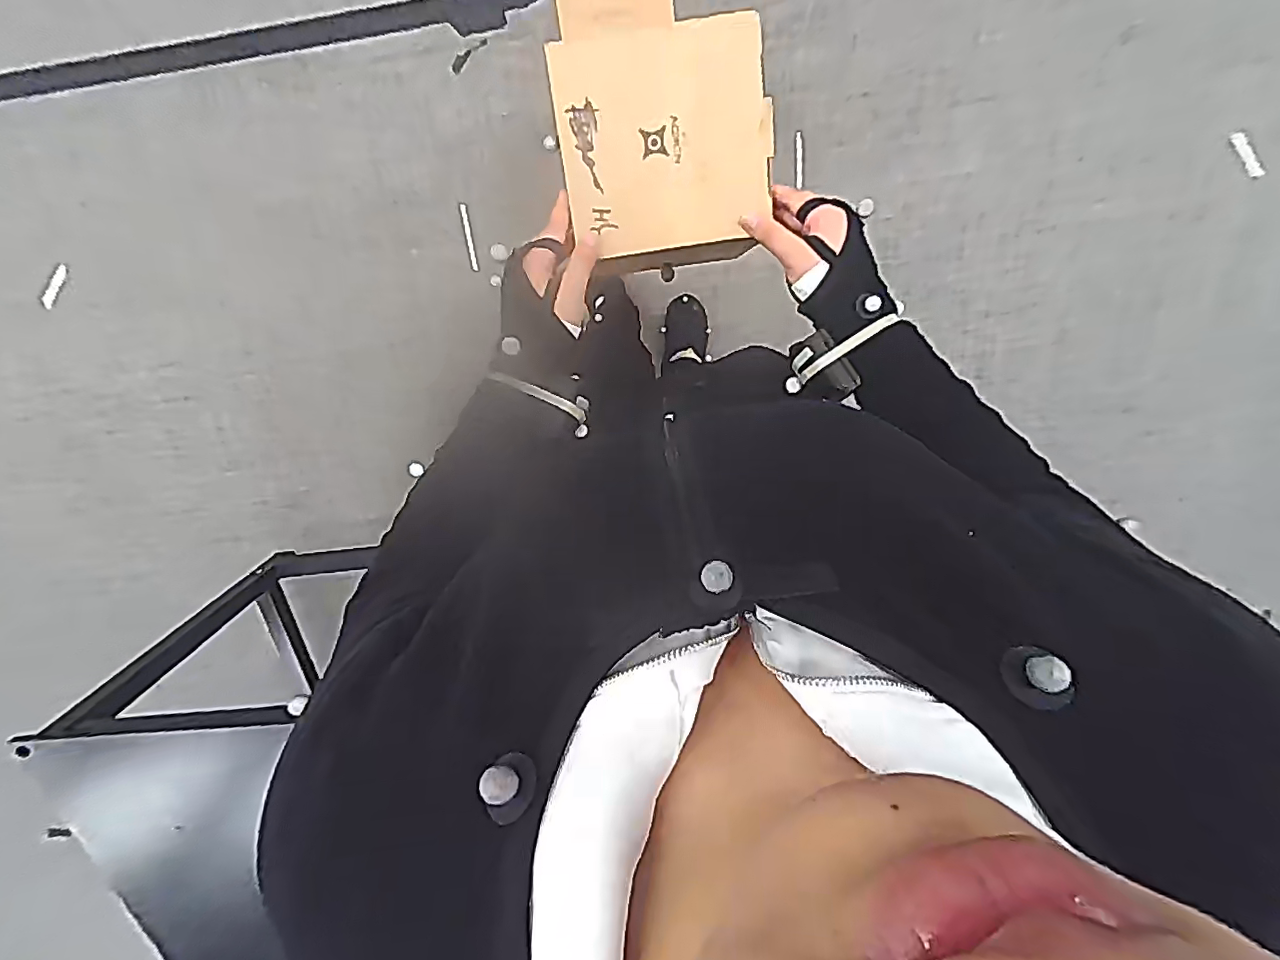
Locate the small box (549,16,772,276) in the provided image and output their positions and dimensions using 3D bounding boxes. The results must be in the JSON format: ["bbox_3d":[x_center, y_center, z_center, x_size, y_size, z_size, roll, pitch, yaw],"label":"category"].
[{"bbox_3d":[0.016,-0.303,0.528,0.179,0.176,0.168,-8,104,-1],"label":"small box"}]
